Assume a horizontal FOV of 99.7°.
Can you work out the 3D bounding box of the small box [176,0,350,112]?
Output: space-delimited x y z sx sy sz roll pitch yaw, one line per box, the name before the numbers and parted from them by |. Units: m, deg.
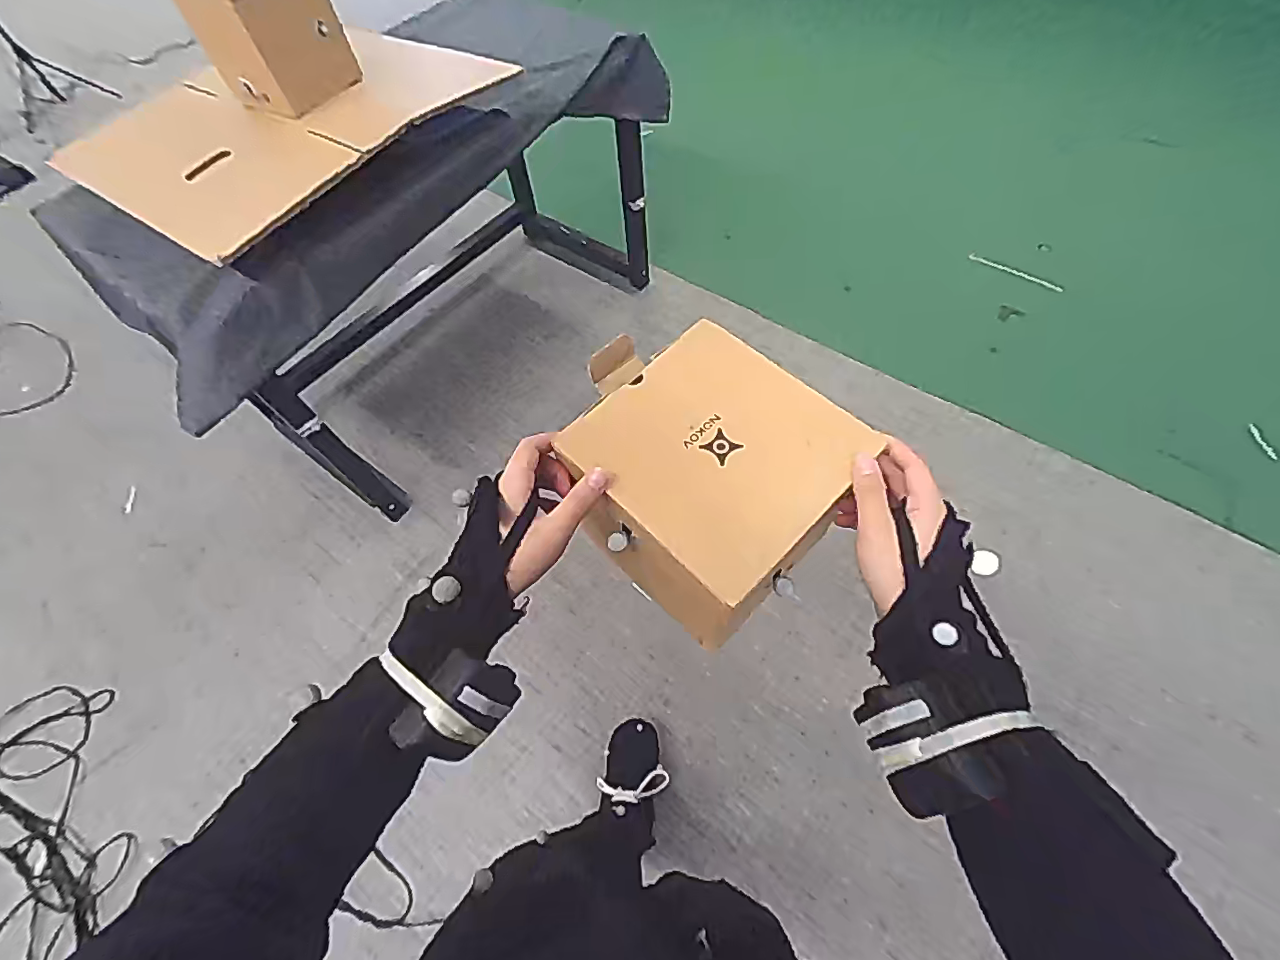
small box | -0.653 -0.791 0.955 0.168 0.176 0.179 22 64 19
